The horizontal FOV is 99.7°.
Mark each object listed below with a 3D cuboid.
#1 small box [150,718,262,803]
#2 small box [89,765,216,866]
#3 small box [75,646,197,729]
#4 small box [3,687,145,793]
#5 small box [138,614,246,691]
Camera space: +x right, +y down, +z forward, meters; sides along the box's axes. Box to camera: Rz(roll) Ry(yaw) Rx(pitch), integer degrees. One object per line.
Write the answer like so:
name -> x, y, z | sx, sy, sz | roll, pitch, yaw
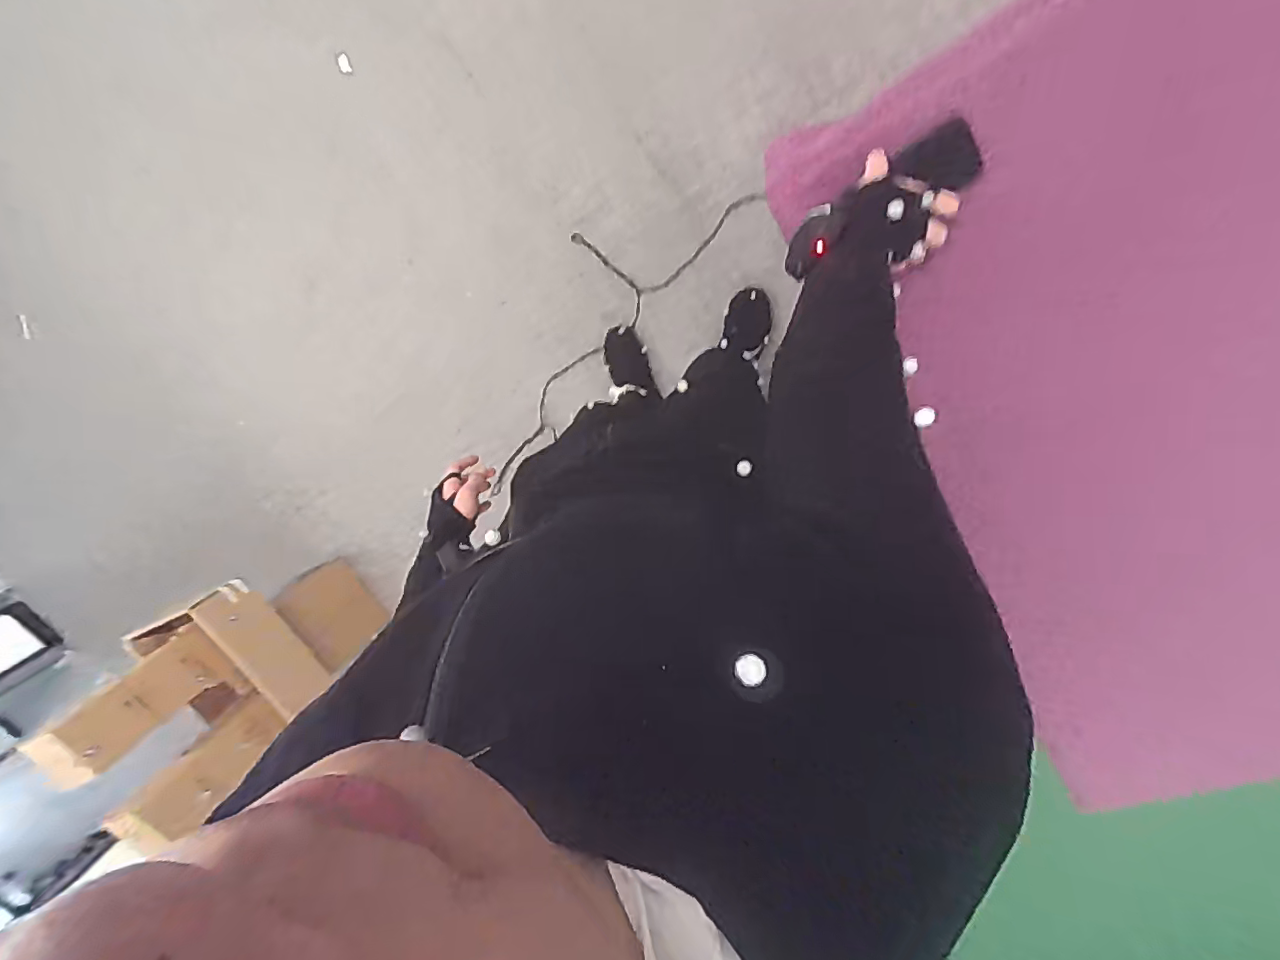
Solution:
small box -> -1.312, 0.862, 1.648 | 0.179, 0.176, 0.168 | -24, 108, 21
small box -> -1.343, 0.928, 1.502 | 0.179, 0.176, 0.168 | -23, 108, 21
small box -> -1.442, 0.610, 1.564 | 0.179, 0.176, 0.168 | -25, 106, 21
small box -> -1.469, 0.676, 1.416 | 0.179, 0.176, 0.168 | -24, 107, 21
small box -> -1.413, 0.553, 1.715 | 0.179, 0.176, 0.168 | -20, 108, 19
